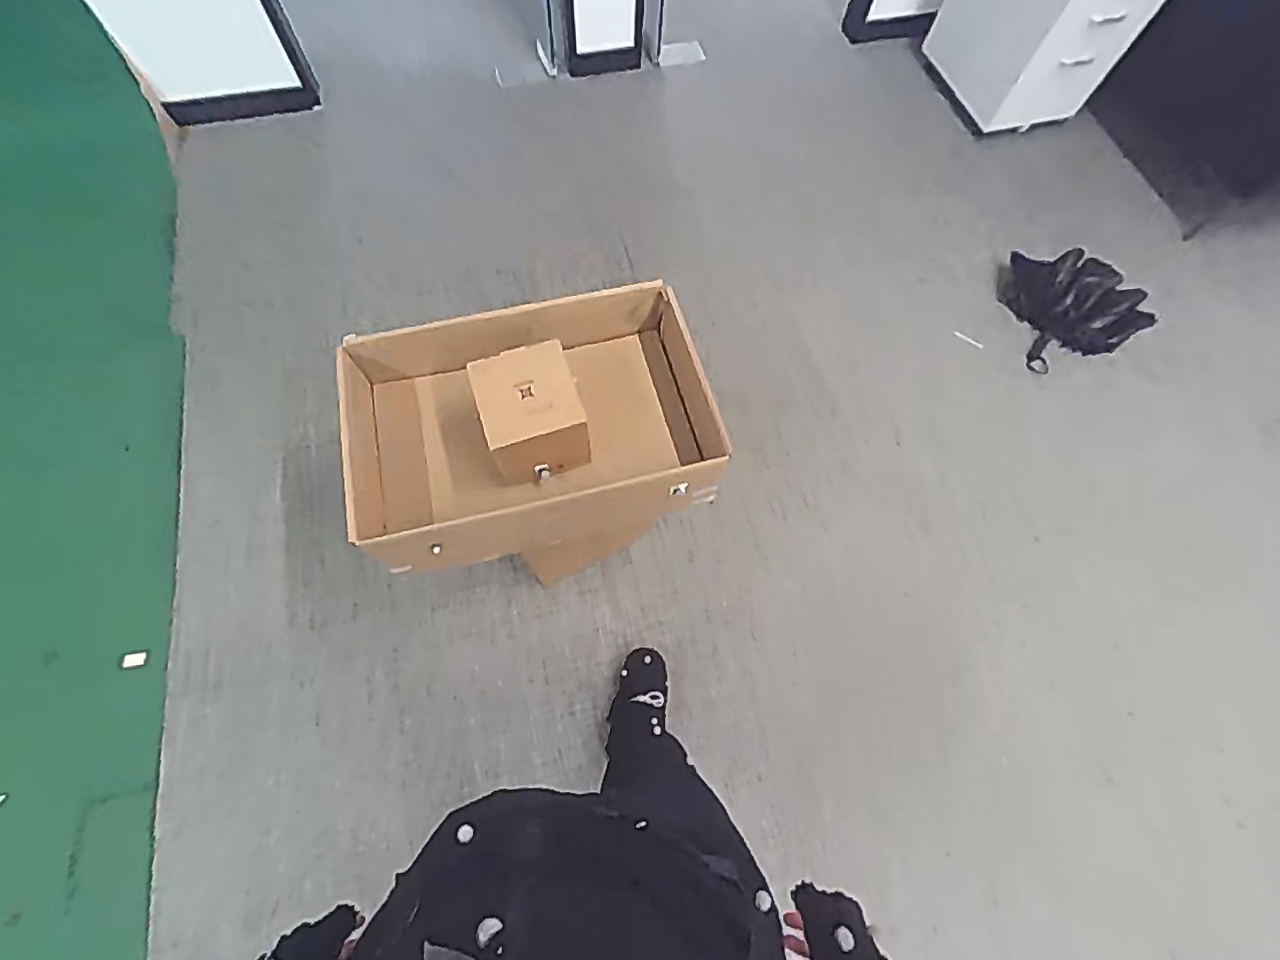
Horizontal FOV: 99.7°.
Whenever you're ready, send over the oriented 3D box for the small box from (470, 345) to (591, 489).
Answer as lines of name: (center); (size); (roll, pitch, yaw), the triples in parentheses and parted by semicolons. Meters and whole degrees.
small box: (-0.191, -0.109, 0.975); (0.168, 0.176, 0.179); (-17, 69, -9)
